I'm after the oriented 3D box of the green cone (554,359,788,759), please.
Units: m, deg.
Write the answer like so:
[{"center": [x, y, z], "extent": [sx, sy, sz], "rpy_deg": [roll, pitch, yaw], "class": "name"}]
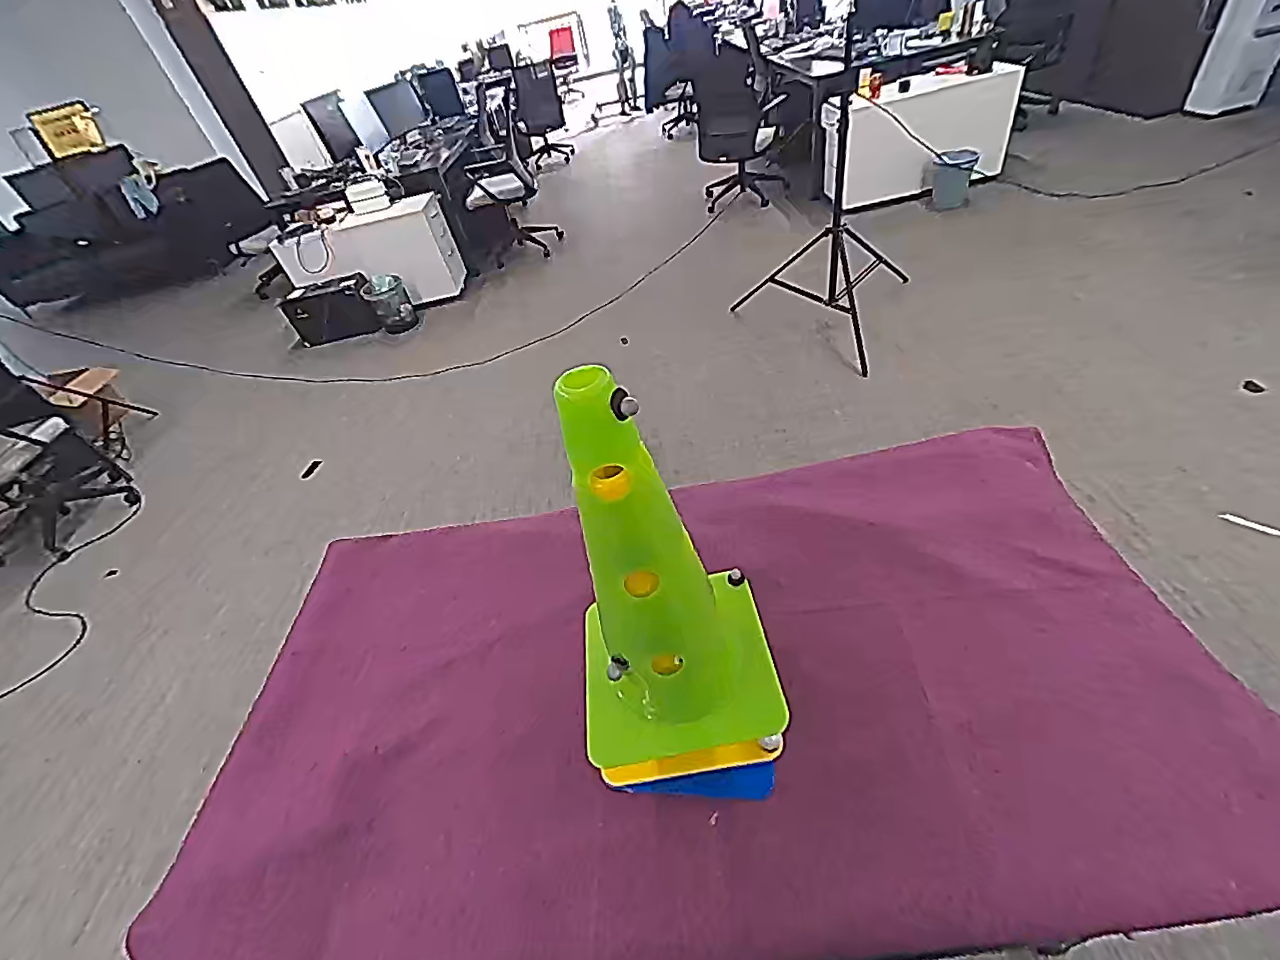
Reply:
[{"center": [-0.002, 0.059, 0.473], "extent": [0.200, 0.368, 0.202], "rpy_deg": [-14, 40, 4], "class": "green cone"}]
